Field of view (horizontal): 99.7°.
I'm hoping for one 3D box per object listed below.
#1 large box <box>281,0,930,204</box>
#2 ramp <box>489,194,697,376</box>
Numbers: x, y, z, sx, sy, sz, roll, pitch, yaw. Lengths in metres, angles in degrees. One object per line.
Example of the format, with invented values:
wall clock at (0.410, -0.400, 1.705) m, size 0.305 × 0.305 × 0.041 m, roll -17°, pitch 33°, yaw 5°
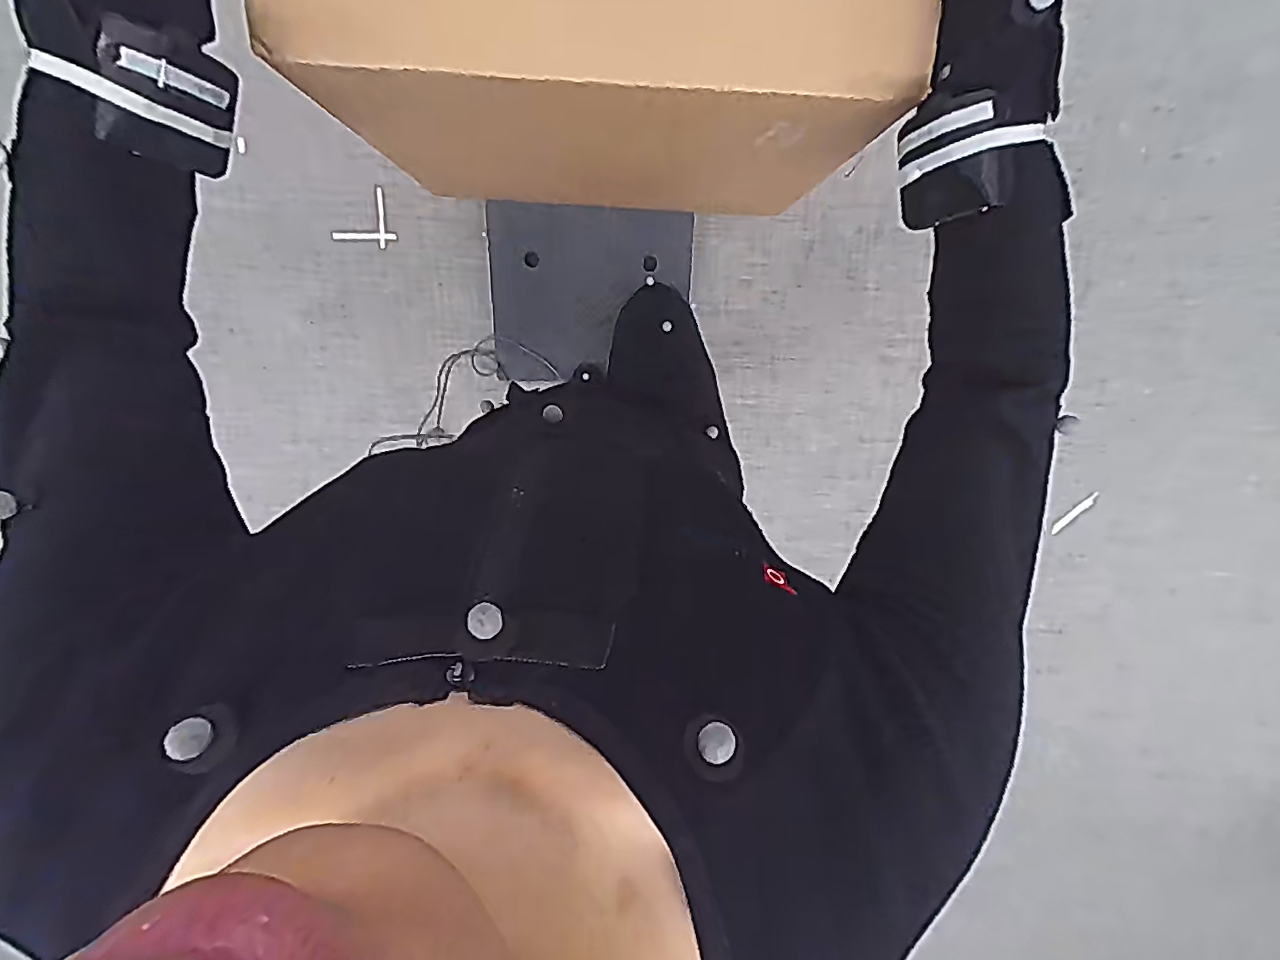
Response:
large box at (-0.022, -0.439, 0.447) m, size 0.408 × 0.320 × 0.320 m, roll 1°, pitch 104°, yaw -3°
ramp at (-0.104, -0.739, 1.239) m, size 0.509 × 0.206 × 0.991 m, roll -1°, pitch 102°, yaw -3°
